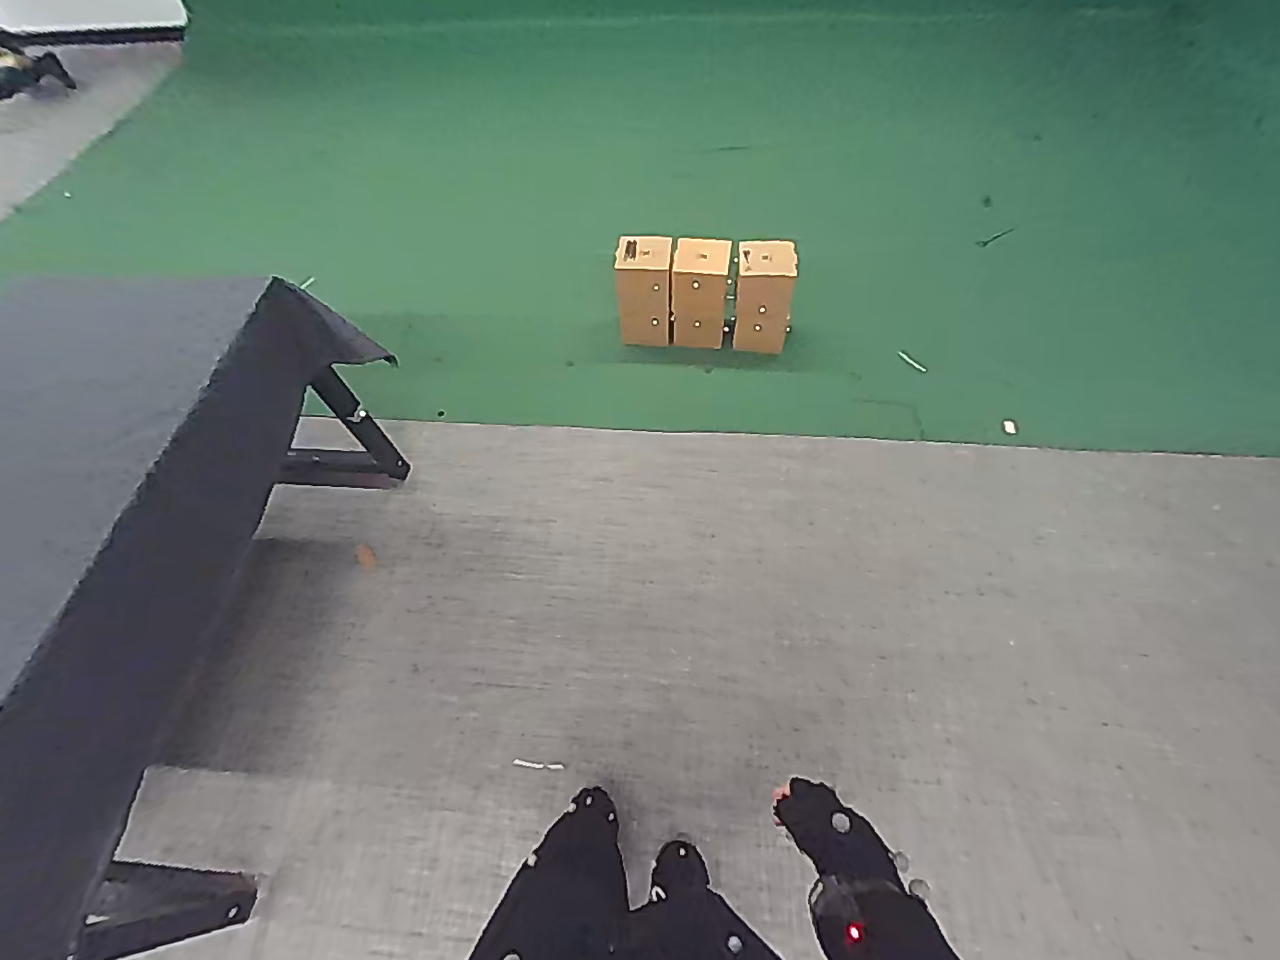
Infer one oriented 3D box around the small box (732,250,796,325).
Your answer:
[{"bbox_3d":[0.402,-0.628,1.774,0.179,0.176,0.168,4,59,4],"label":"small box"}]
